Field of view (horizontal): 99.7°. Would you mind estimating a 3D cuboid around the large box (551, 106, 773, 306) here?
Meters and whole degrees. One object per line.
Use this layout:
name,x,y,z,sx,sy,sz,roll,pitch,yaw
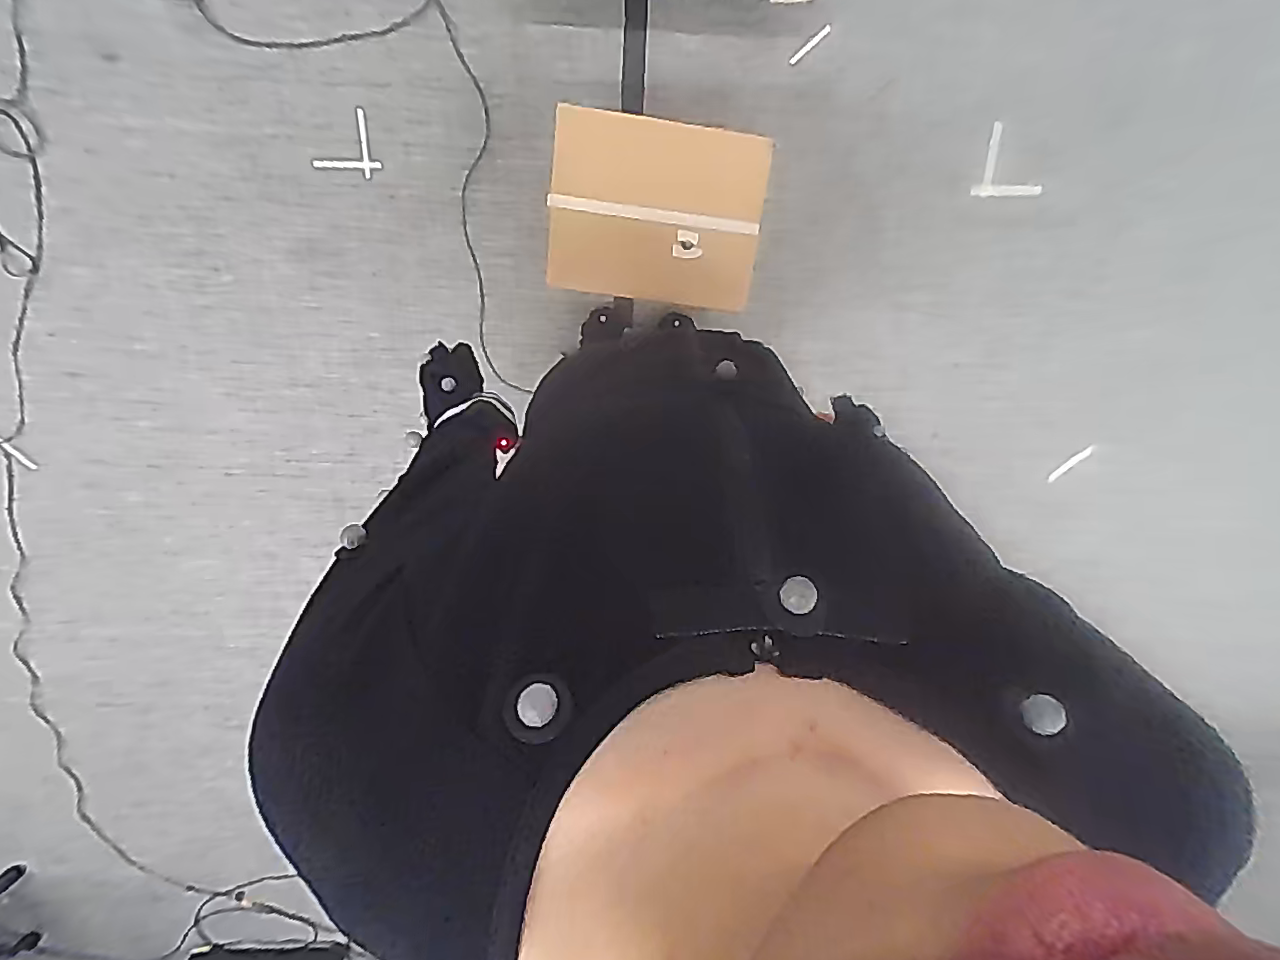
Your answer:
large box,0.026,-0.561,1.172,0.408,0.320,0.320,5,110,-6
